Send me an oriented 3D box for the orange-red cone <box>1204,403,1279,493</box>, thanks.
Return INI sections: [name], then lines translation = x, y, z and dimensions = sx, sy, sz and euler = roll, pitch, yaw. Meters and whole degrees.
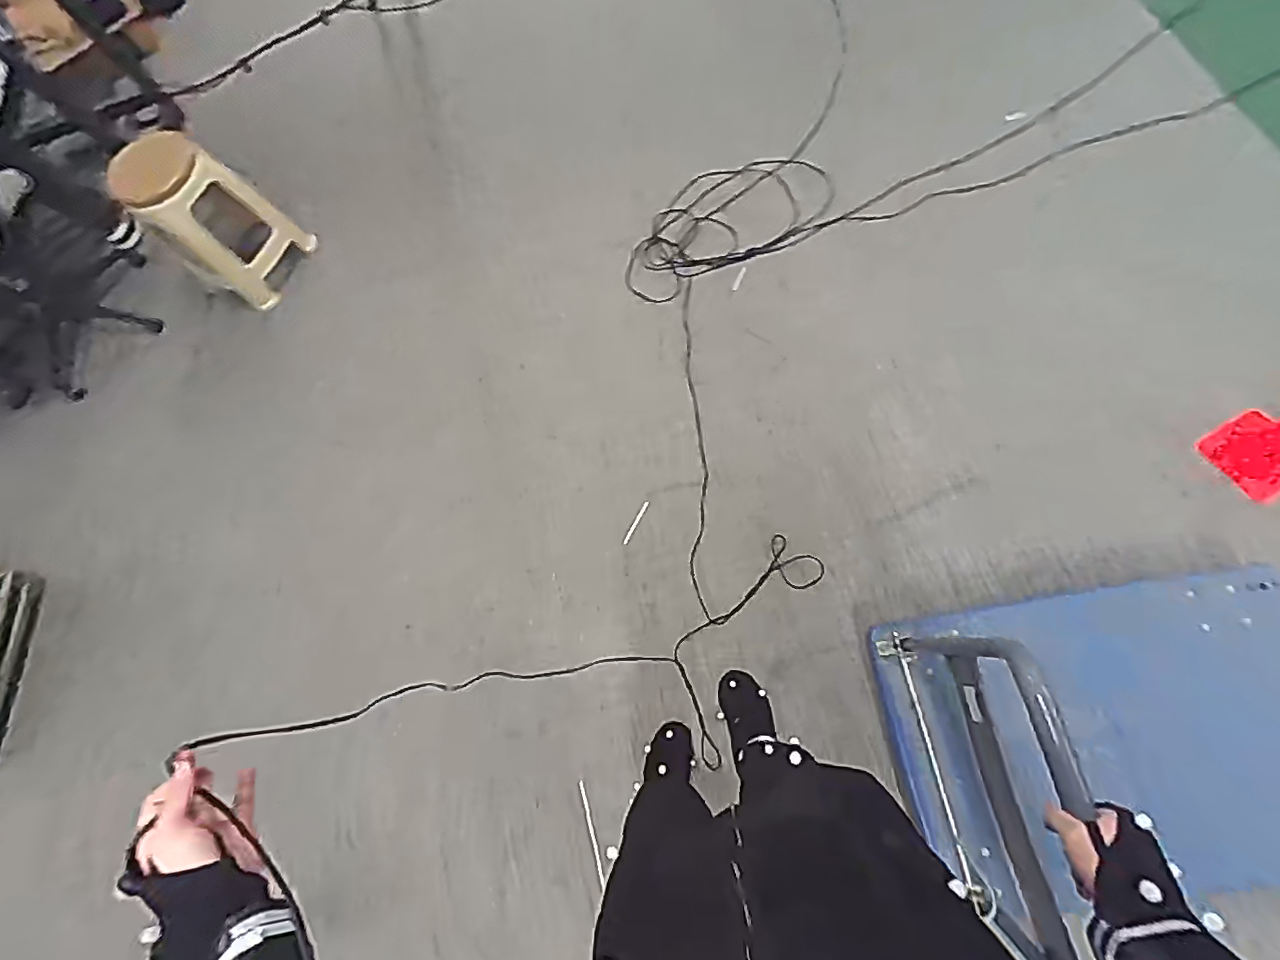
[orange-red cone]
translation = 1.565, -0.137, 1.226
dimensions = 0.198, 0.360, 0.199
euler = -30, 69, -2
